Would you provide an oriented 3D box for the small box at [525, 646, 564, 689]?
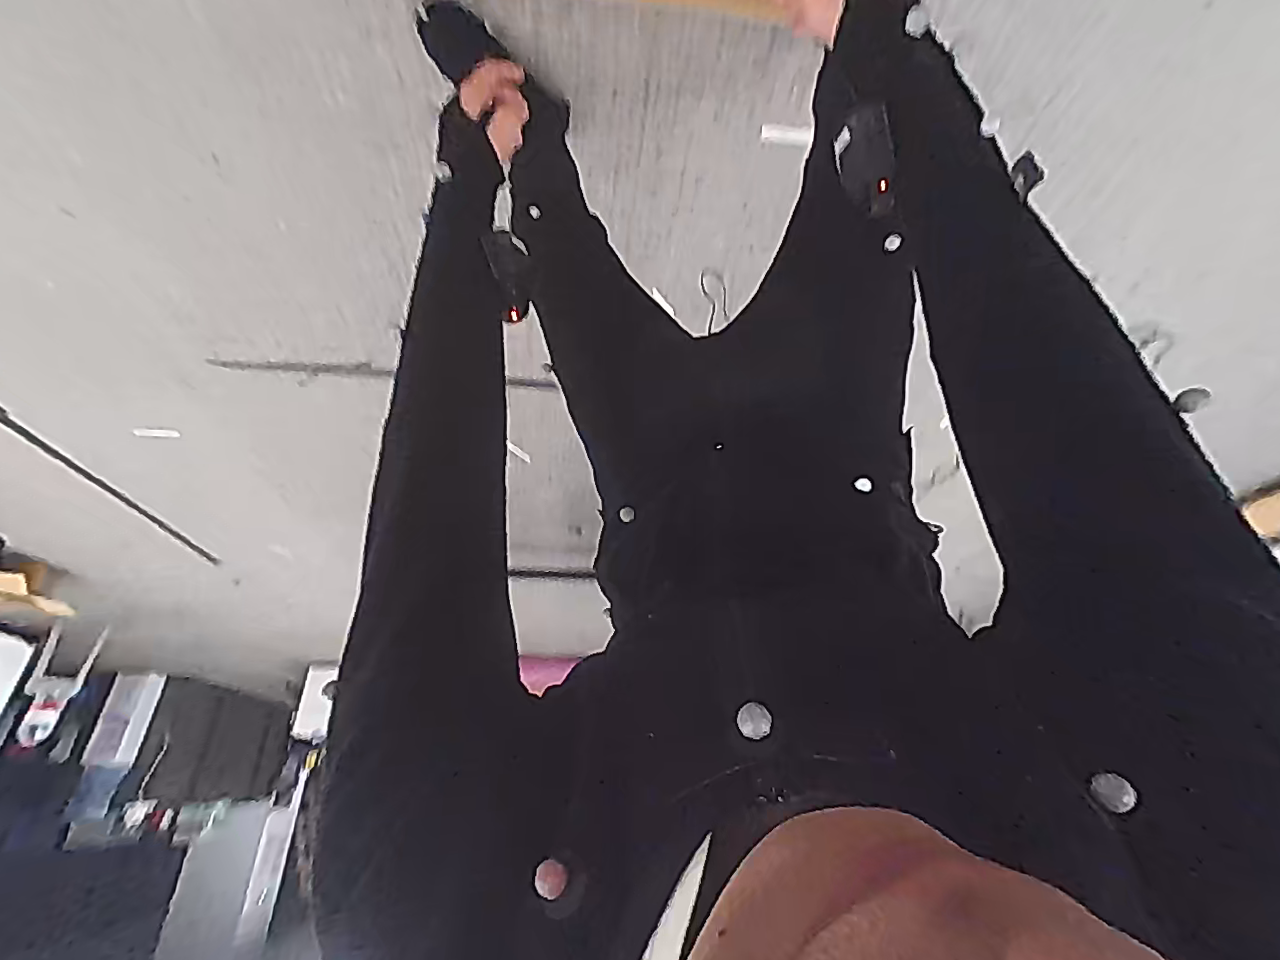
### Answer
[{"bbox_3d":[-0.456,0.894,2.580,0.179,0.176,0.168,0,153,-10],"label":"small box"}]
